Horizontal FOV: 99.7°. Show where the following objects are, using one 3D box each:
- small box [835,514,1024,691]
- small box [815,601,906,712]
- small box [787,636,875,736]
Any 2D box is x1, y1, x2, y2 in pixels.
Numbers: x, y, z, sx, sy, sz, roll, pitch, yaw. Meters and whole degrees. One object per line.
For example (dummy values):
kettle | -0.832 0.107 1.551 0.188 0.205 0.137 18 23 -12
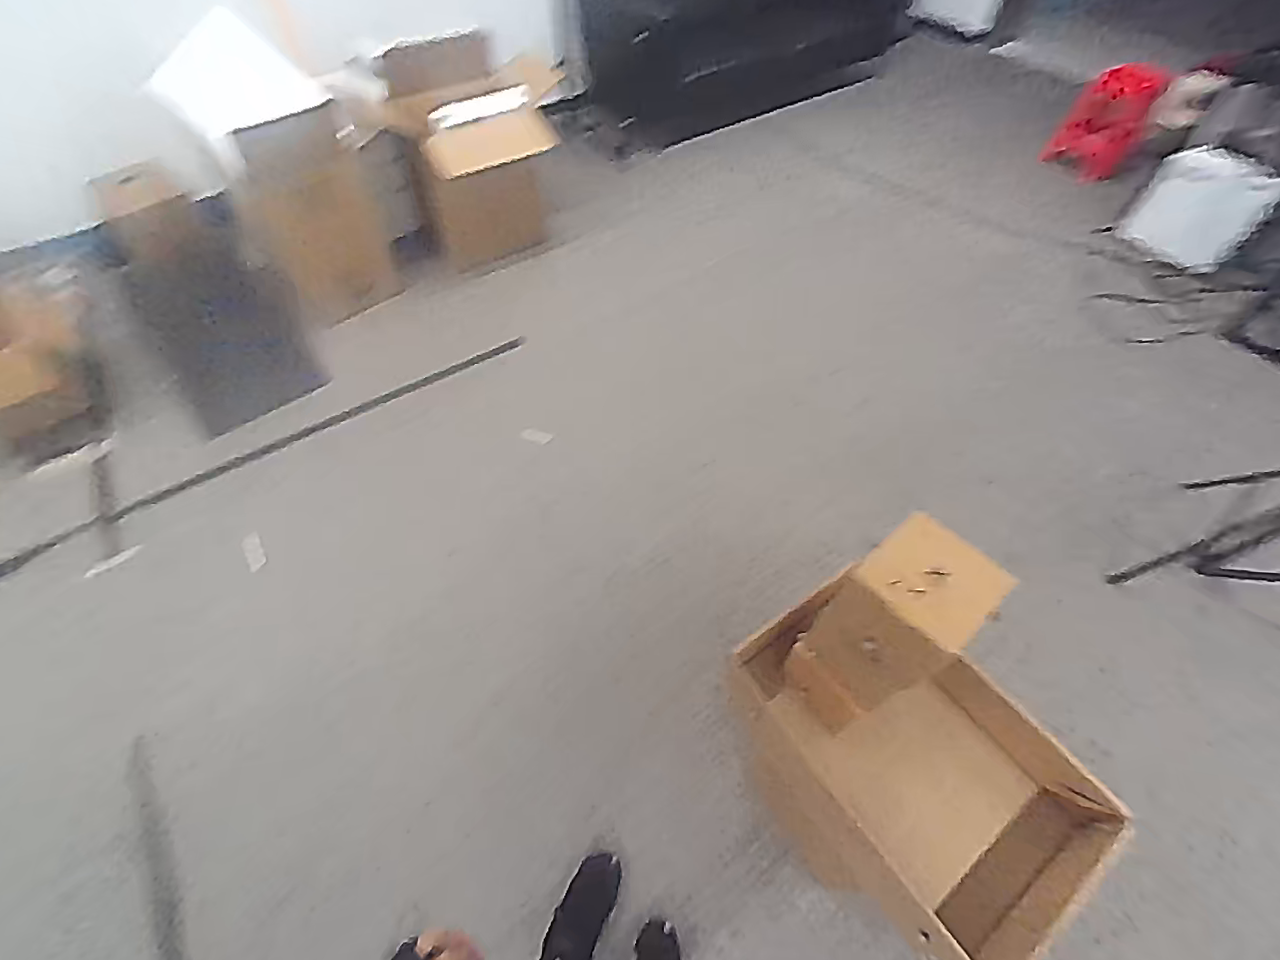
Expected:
small box | 0.433 0.192 0.839 0.179 0.176 0.168 -34 60 -21
small box | 0.438 0.286 0.974 0.179 0.176 0.168 -29 59 -20
small box | 0.426 0.388 1.102 0.179 0.176 0.168 -30 59 -20
